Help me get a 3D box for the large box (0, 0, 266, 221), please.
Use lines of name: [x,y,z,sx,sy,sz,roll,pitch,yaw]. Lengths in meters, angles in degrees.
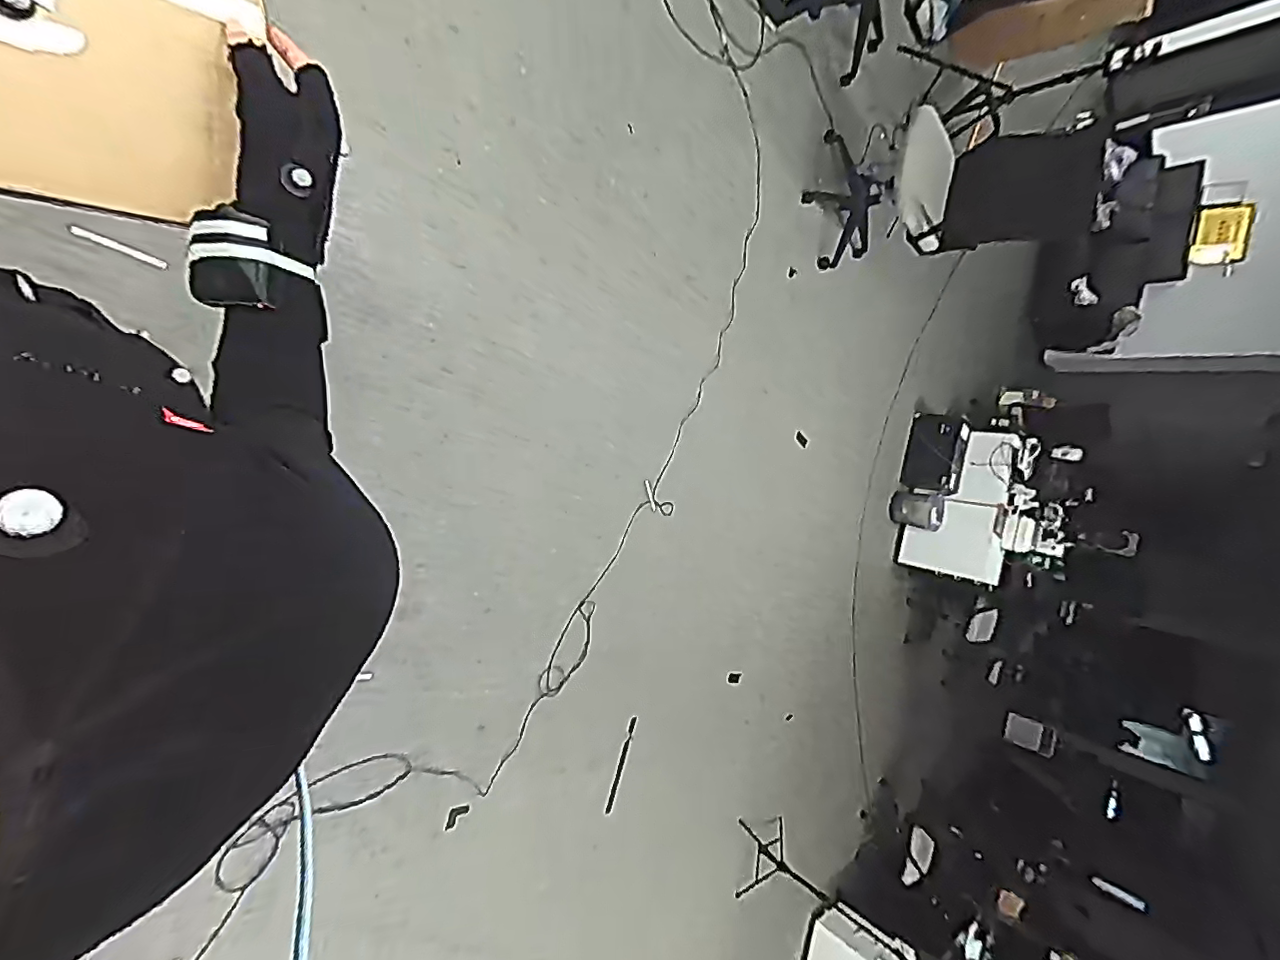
large box: [-0.549,-0.392,0.383,0.408,0.320,0.320,-9,116,-46]
